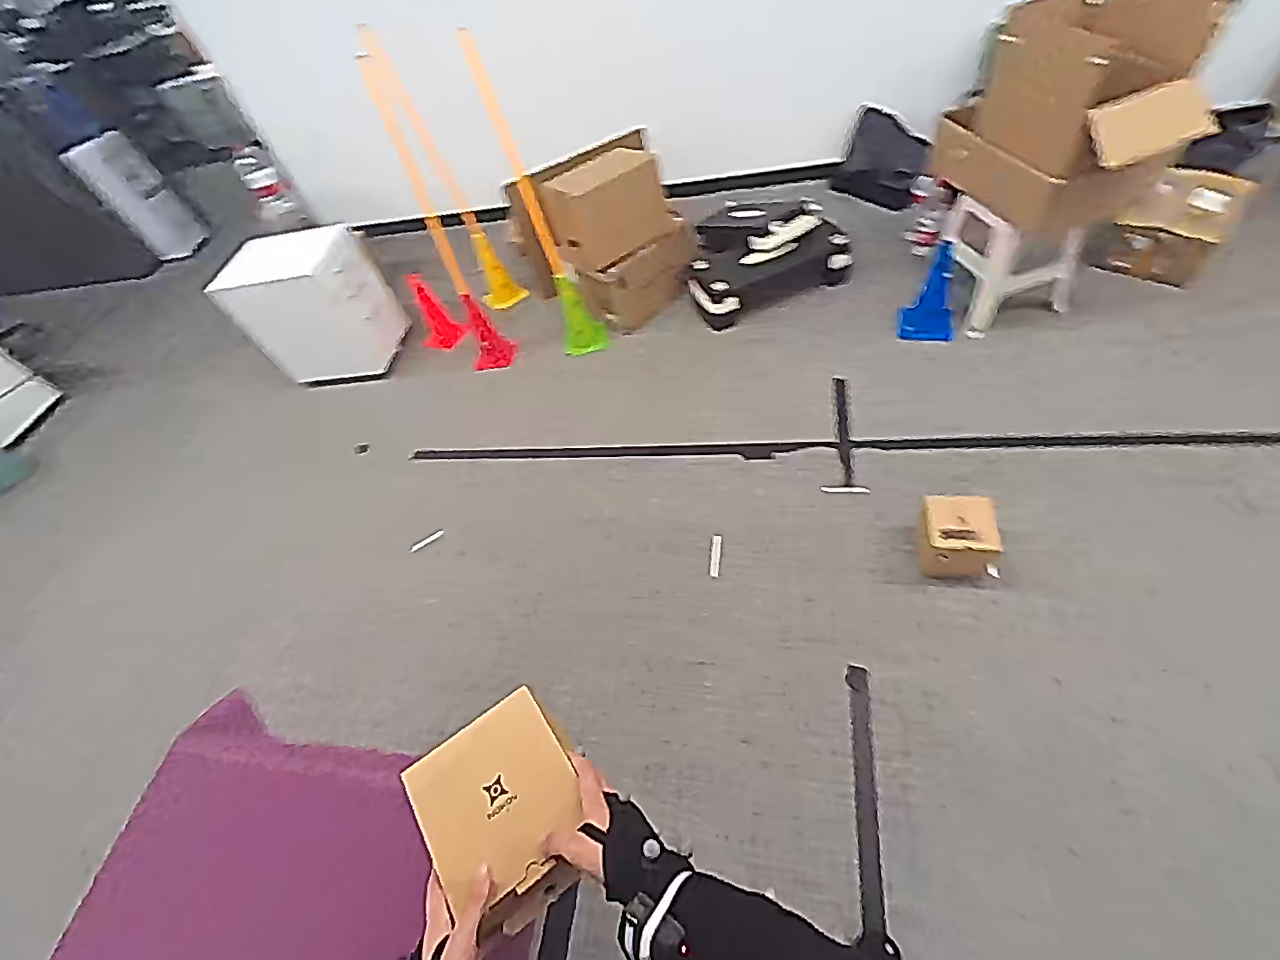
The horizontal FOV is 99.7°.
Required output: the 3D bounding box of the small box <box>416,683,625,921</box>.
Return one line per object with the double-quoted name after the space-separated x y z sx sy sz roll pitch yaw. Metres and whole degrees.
-0.136 0.387 0.650 0.168 0.176 0.179 -31 54 -17 "small box"
